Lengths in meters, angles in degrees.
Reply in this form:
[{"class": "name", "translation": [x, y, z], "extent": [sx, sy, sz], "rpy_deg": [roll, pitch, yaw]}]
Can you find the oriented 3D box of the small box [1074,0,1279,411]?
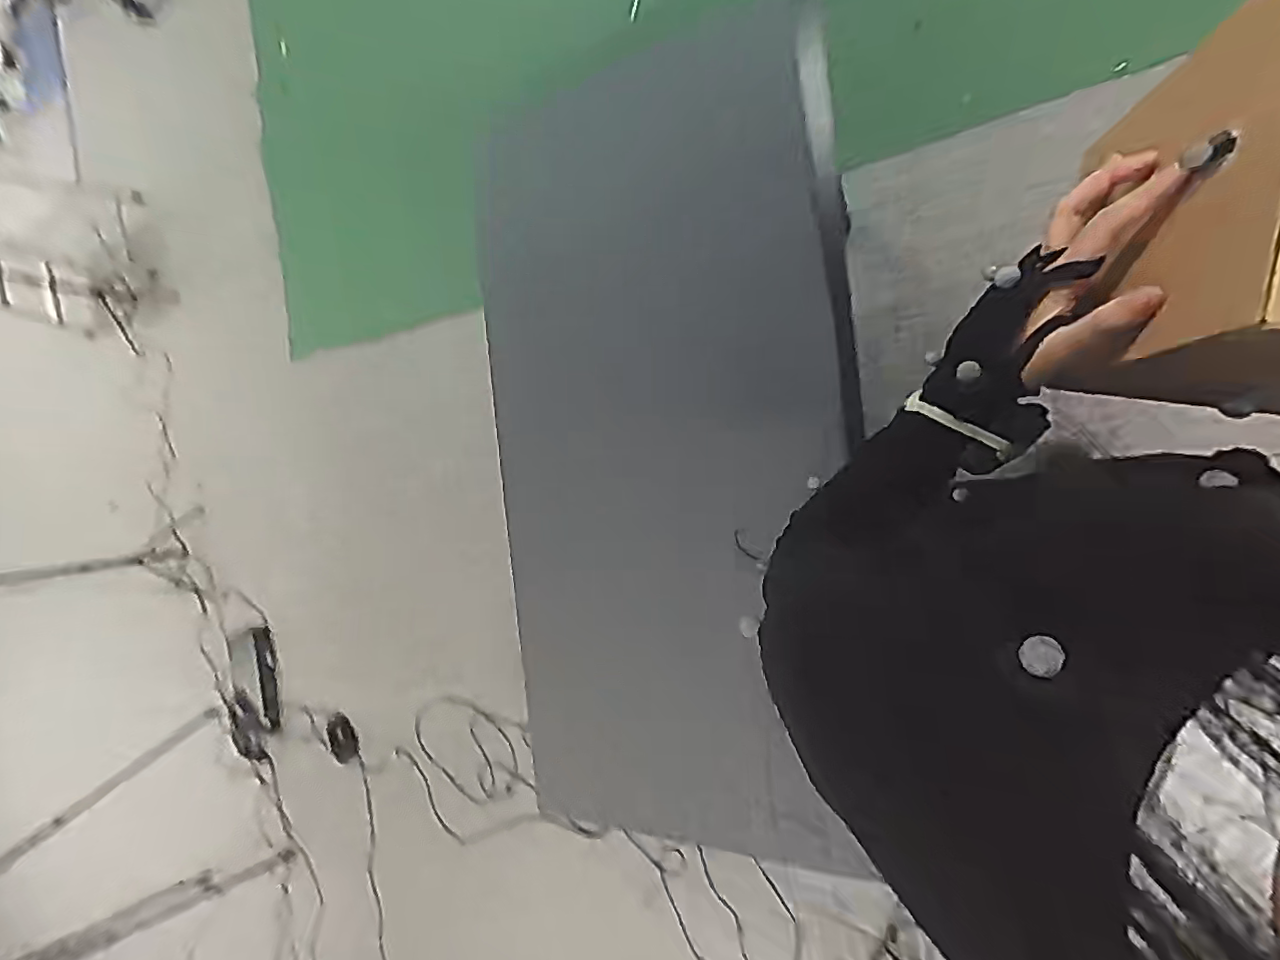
[{"class": "small box", "translation": [0.375, -0.143, 0.283], "extent": [0.168, 0.176, 0.179], "rpy_deg": [10, 91, 10]}]
